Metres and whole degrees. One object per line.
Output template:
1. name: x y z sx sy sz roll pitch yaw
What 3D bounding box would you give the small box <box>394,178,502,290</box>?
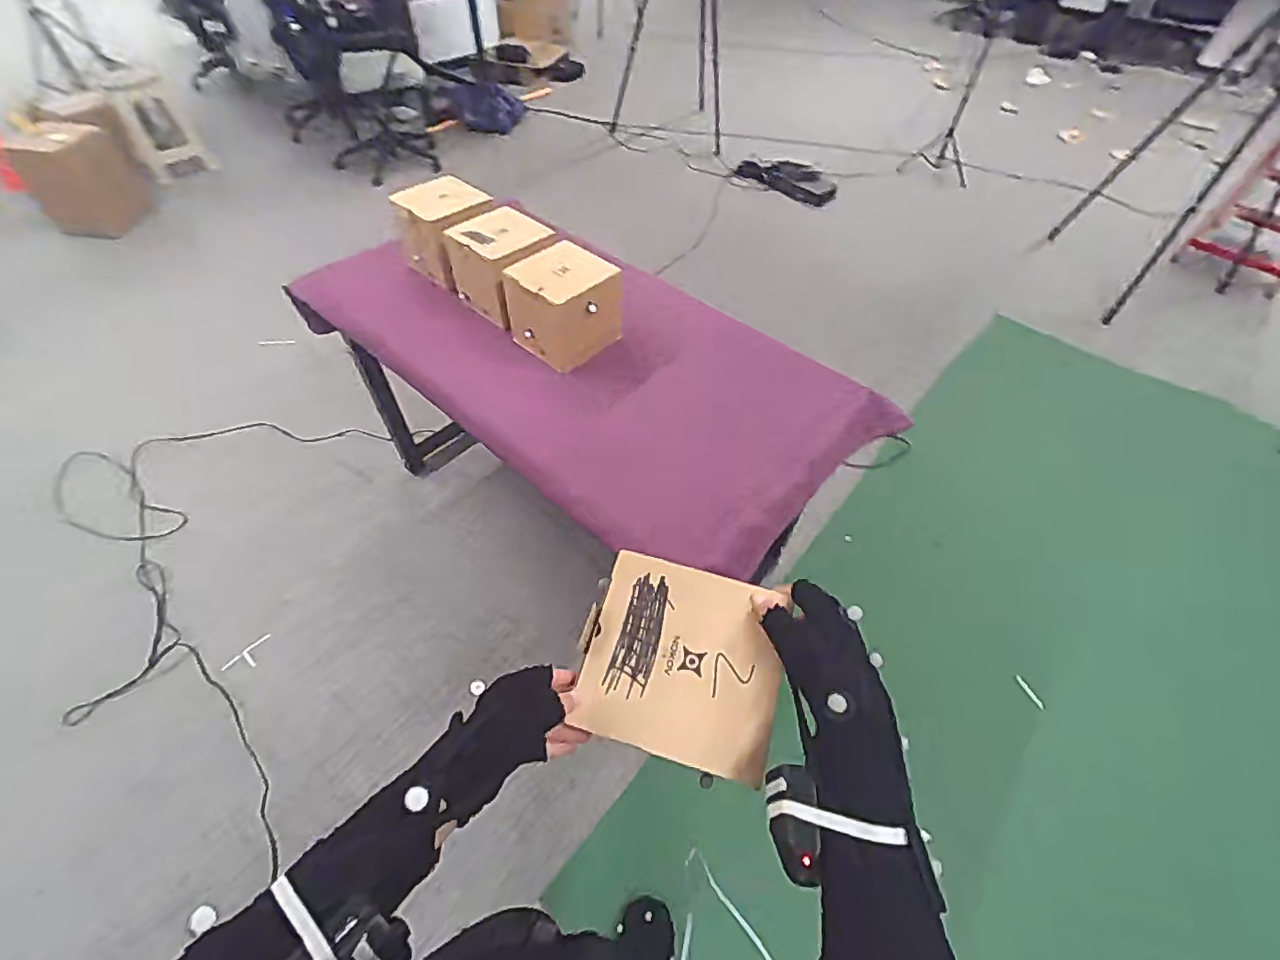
1. small box: -0.451 -0.592 1.304 0.168 0.176 0.179 36 59 24

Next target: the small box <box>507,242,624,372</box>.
1. small box: -0.151 -0.362 1.134 0.168 0.176 0.179 37 60 24
